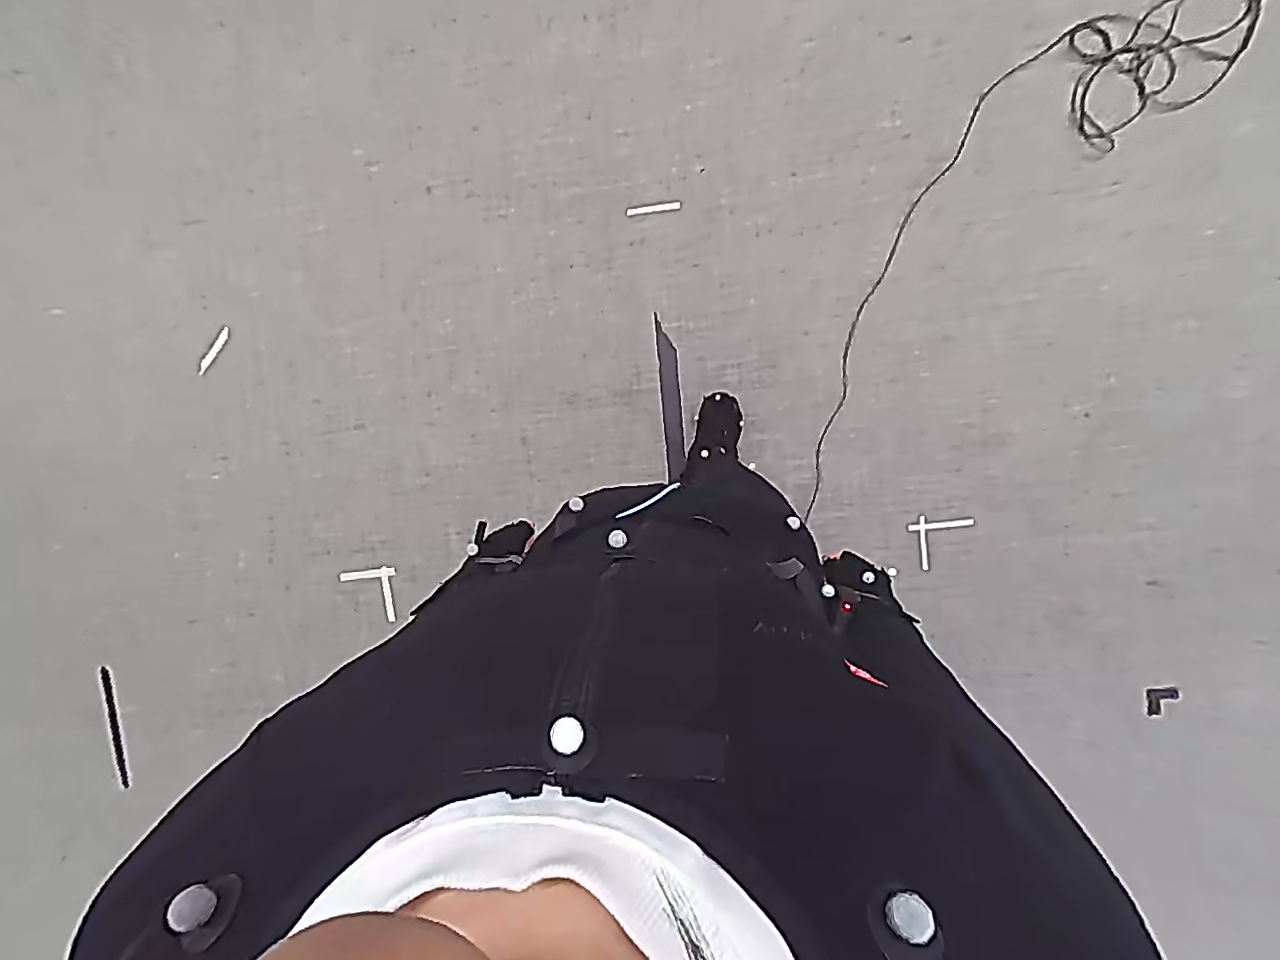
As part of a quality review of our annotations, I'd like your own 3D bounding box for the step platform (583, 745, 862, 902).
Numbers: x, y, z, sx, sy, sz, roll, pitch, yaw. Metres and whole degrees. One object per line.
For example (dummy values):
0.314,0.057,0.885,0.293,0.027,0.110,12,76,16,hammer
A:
0.199,0.878,1.382,0.684,0.204,0.286,-6,93,9,step platform
